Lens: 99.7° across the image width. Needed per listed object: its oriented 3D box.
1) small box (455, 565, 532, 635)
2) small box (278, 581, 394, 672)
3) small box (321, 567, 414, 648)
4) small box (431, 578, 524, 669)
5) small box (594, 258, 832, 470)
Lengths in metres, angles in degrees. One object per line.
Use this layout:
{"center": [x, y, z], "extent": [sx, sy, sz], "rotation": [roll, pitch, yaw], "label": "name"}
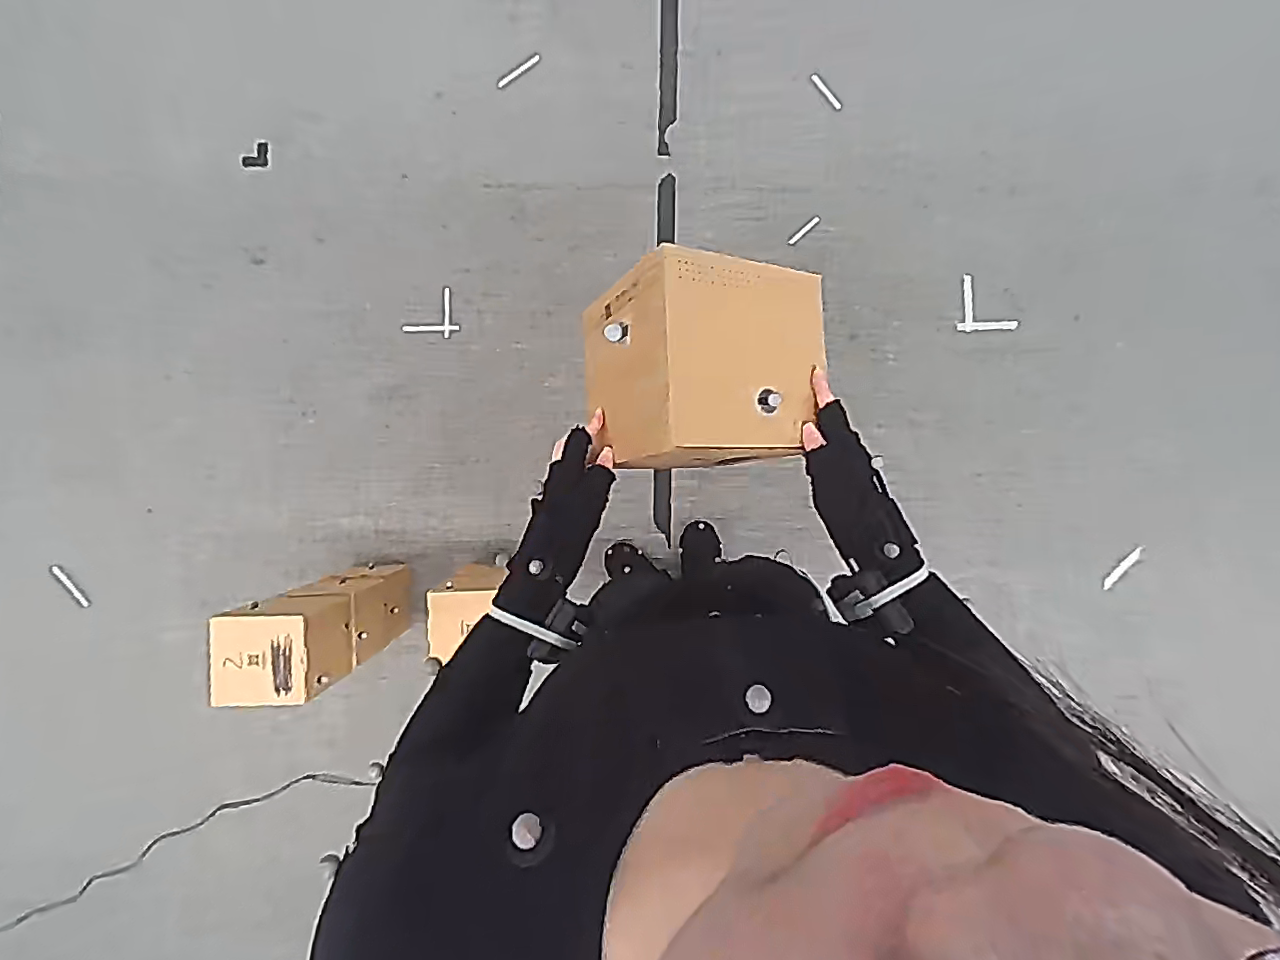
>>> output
{"center": [-0.380, 0.325, 1.415], "extent": [0.168, 0.176, 0.179], "rotation": [2, 89, -2], "label": "small box"}
{"center": [-0.691, 0.330, 1.242], "extent": [0.179, 0.176, 0.168], "rotation": [-2, 90, 0], "label": "small box"}
{"center": [-0.701, 0.328, 1.407], "extent": [0.168, 0.176, 0.179], "rotation": [-2, 90, -1], "label": "small box"}
{"center": [-0.368, 0.324, 1.253], "extent": [0.179, 0.176, 0.168], "rotation": [-2, 90, -2], "label": "small box"}
{"center": [0.066, -0.100, 0.537], "extent": [0.179, 0.168, 0.176], "rotation": [-1, 87, -29], "label": "small box"}
